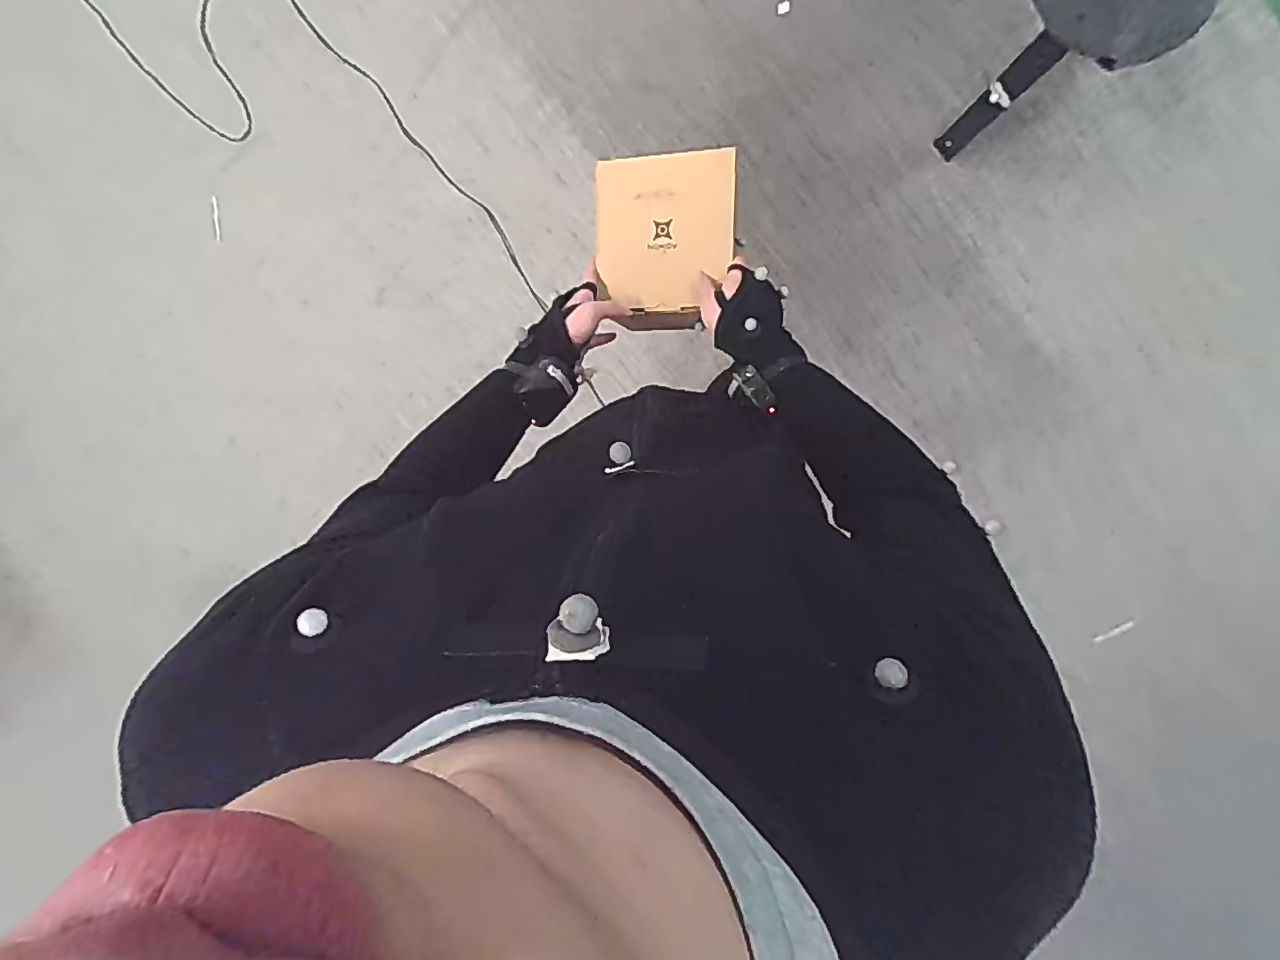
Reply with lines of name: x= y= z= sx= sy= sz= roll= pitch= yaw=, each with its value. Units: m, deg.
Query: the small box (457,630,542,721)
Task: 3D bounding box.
small box: x=-0.429 y=0.606 z=1.700 sx=0.179 sy=0.176 sz=0.168 roll=-39 pitch=94 yaw=16

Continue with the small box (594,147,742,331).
small box: x=0.044 y=-0.290 z=0.695 sx=0.168 sy=0.176 sz=0.179 roll=2 pitch=96 yaw=12
